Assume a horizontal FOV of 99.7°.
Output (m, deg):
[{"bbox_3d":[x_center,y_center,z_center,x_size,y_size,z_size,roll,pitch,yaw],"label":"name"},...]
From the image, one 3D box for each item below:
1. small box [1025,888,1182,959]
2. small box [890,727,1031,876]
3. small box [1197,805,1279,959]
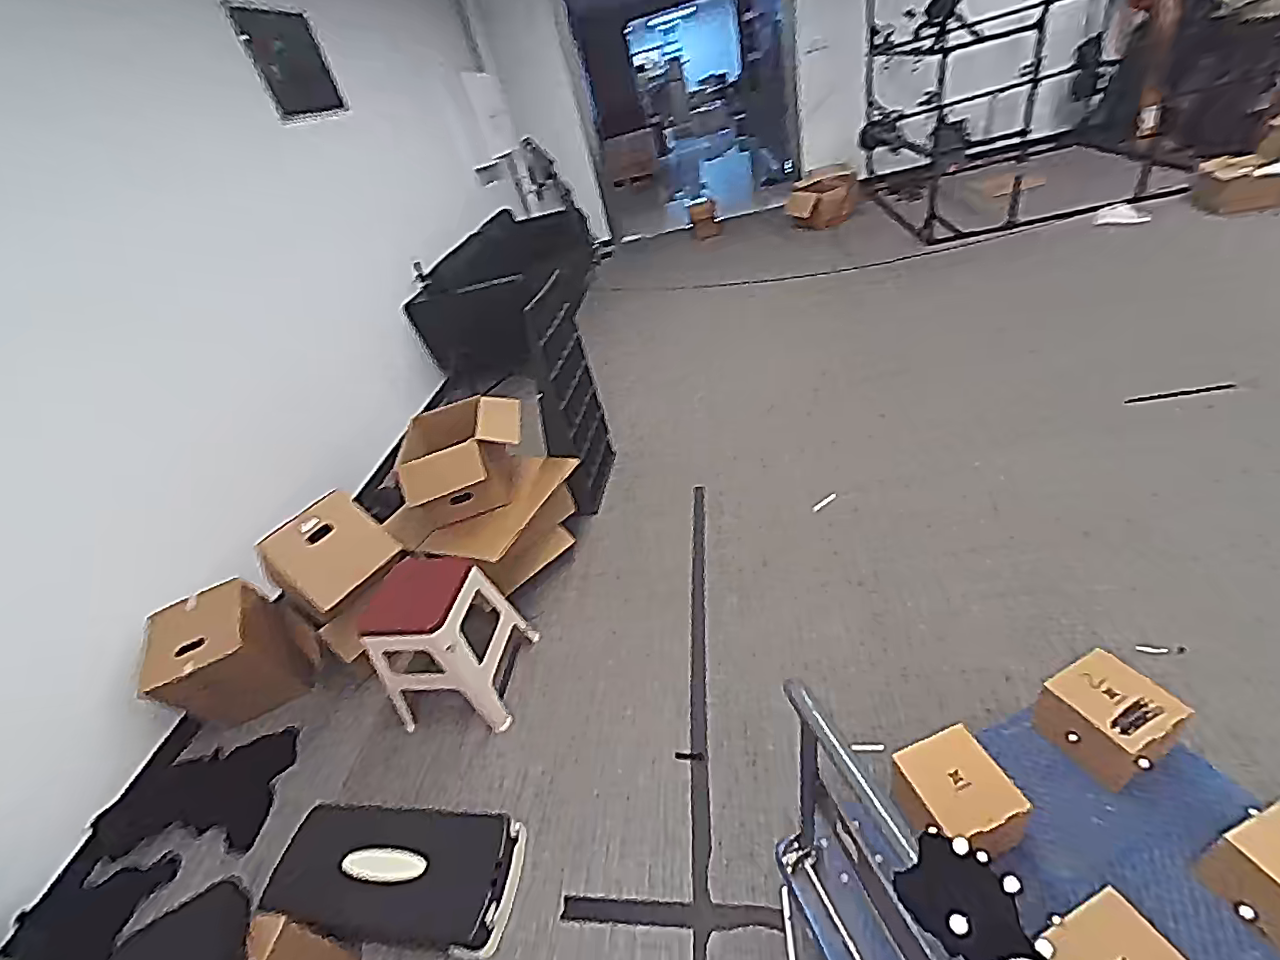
[{"bbox_3d":[0.732,0.790,0.831,0.168,0.176,0.179,-24,35,-10],"label":"small box"},{"bbox_3d":[0.625,0.641,1.081,0.168,0.176,0.179,-21,36,-7],"label":"small box"},{"bbox_3d":[1.076,0.654,0.875,0.179,0.176,0.168,-23,35,-7],"label":"small box"}]
